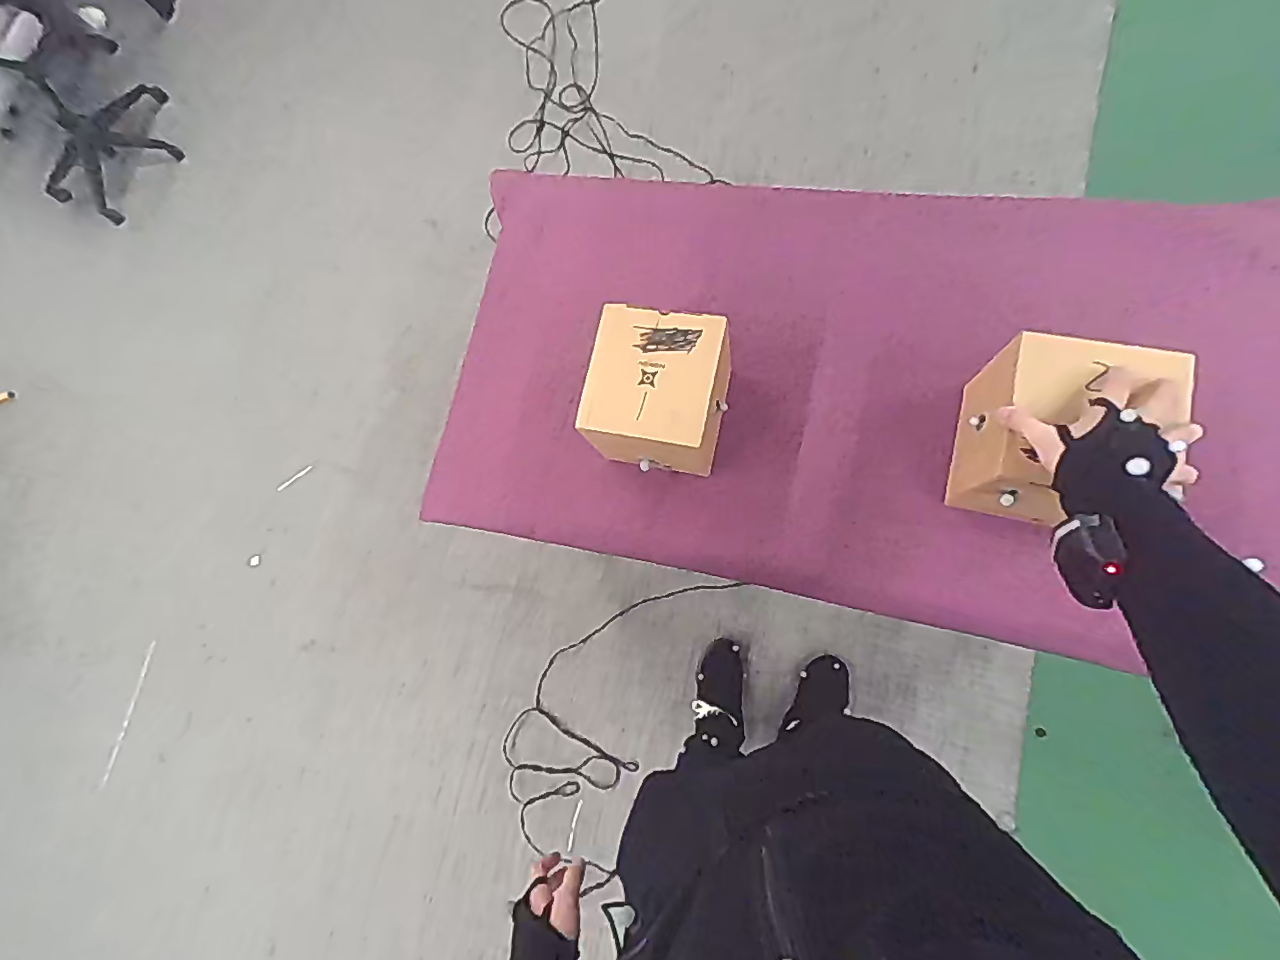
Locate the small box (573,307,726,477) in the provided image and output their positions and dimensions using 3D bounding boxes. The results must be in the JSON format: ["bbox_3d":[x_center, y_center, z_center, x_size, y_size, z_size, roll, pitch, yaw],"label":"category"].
[{"bbox_3d":[0.024,-0.116,0.764,0.168,0.176,0.179,11,81,13],"label":"small box"}]
